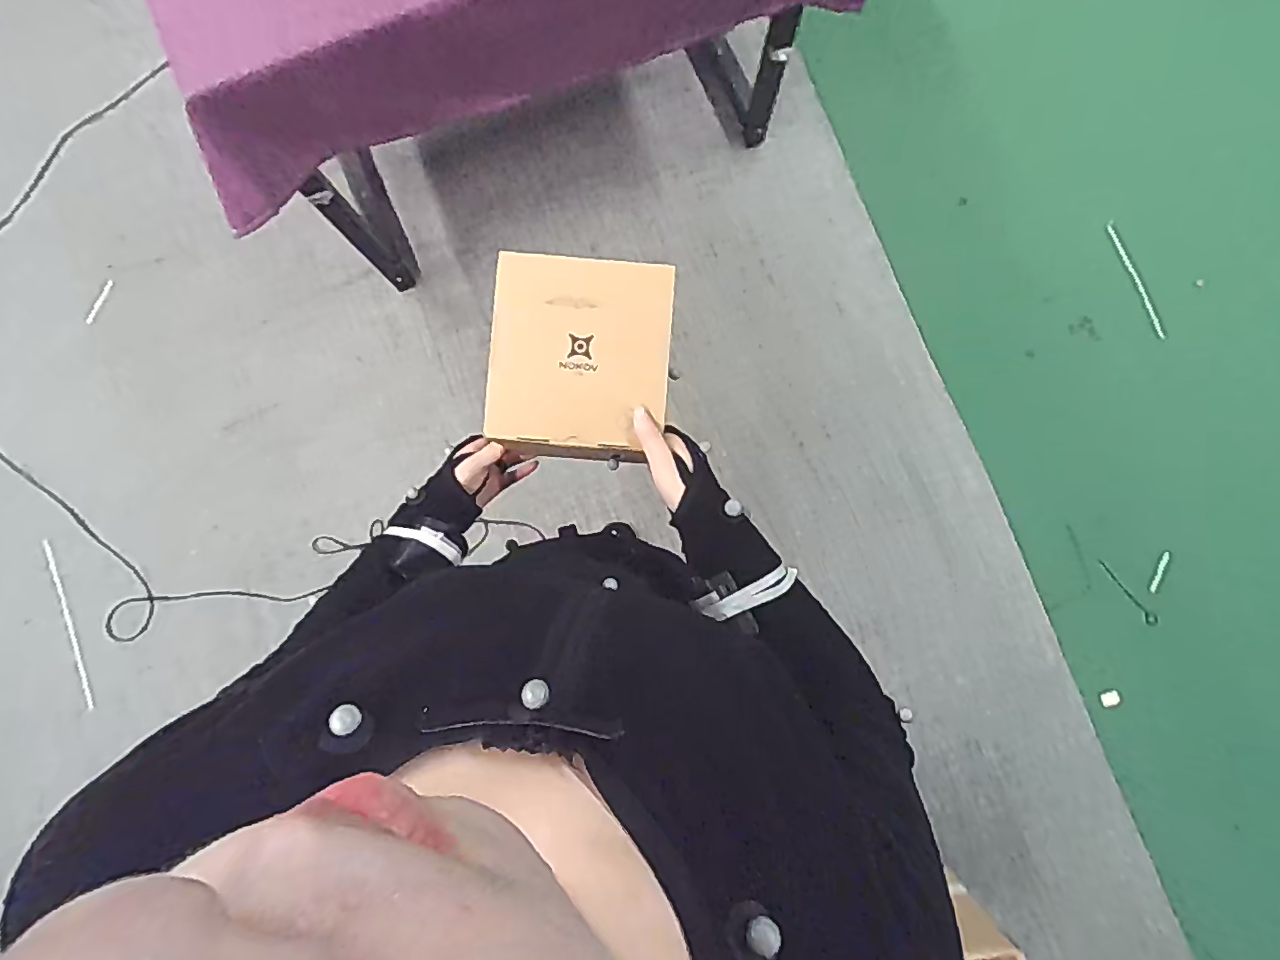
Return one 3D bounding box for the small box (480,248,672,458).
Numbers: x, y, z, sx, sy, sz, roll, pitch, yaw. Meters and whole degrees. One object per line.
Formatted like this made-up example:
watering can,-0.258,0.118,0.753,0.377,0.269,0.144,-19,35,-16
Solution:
small box,-0.061,-0.119,0.578,0.168,0.176,0.179,5,88,-3
